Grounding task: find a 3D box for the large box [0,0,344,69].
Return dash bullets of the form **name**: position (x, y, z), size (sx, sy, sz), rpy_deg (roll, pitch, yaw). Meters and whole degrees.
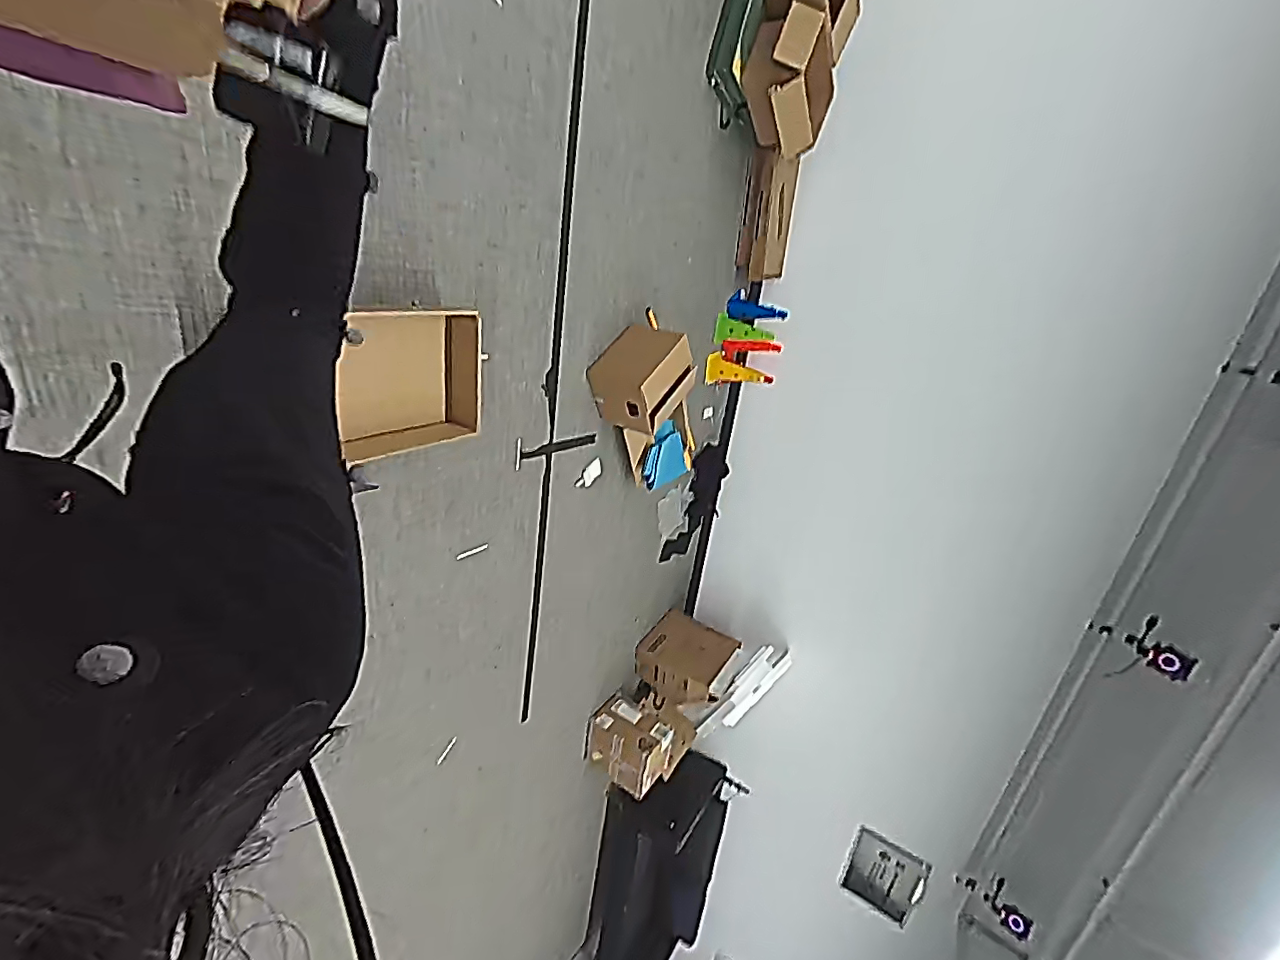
- **large box**: position (-0.441, -0.479, 0.281), size (0.408, 0.320, 0.320), rpy_deg (-20, 126, -54)
